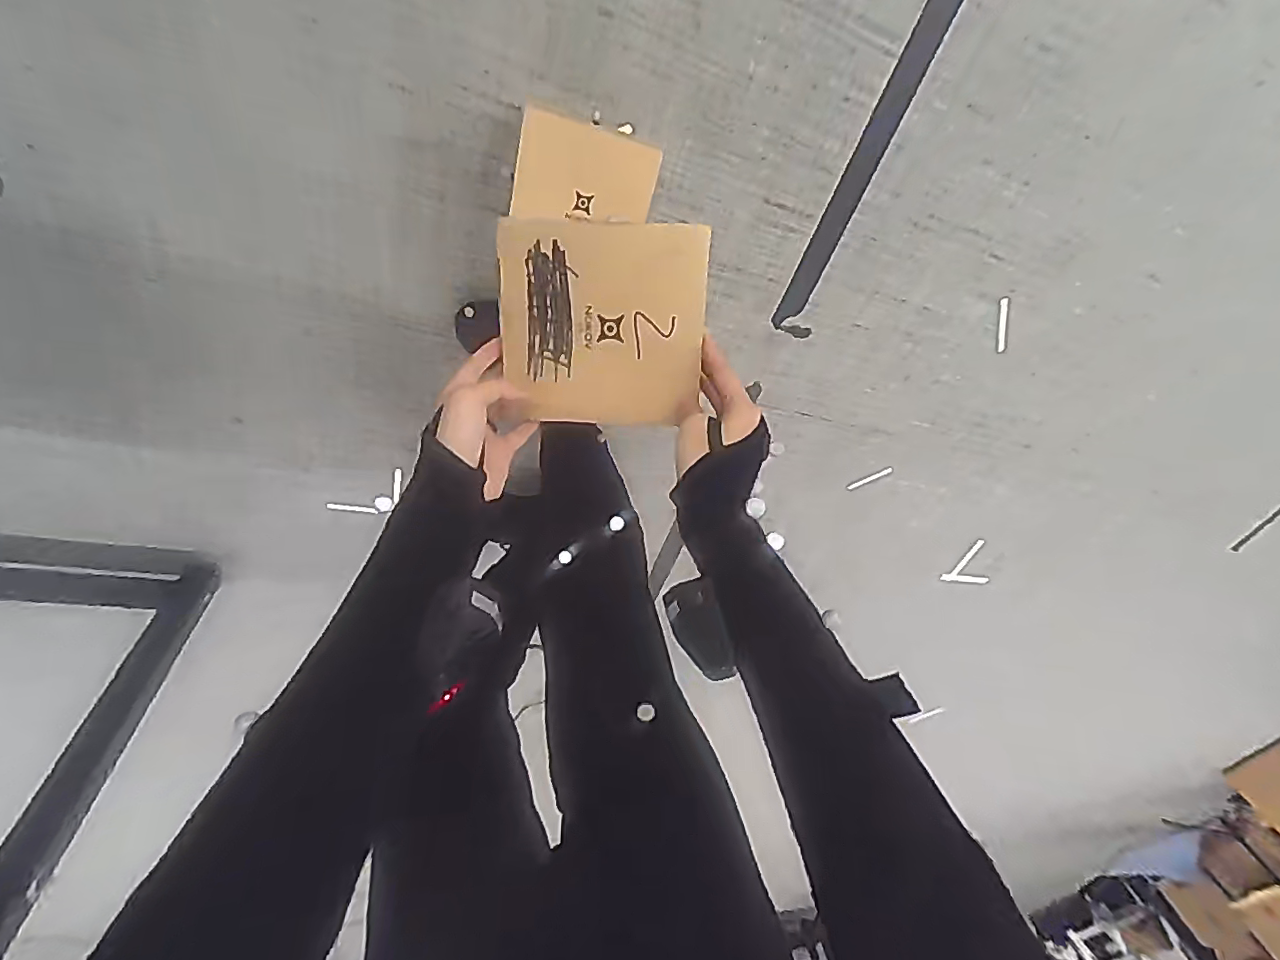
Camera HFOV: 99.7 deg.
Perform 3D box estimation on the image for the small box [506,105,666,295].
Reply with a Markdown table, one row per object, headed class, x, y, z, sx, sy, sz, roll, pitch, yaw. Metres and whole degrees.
| class | x | y | z | sx | sy | sz | roll | pitch | yaw |
| --- | --- | --- | --- | --- | --- | --- | --- | --- | --- |
| small box | -0.083 | -0.375 | 0.720 | 0.168 | 0.176 | 0.179 | 8 | 125 | -17 |
